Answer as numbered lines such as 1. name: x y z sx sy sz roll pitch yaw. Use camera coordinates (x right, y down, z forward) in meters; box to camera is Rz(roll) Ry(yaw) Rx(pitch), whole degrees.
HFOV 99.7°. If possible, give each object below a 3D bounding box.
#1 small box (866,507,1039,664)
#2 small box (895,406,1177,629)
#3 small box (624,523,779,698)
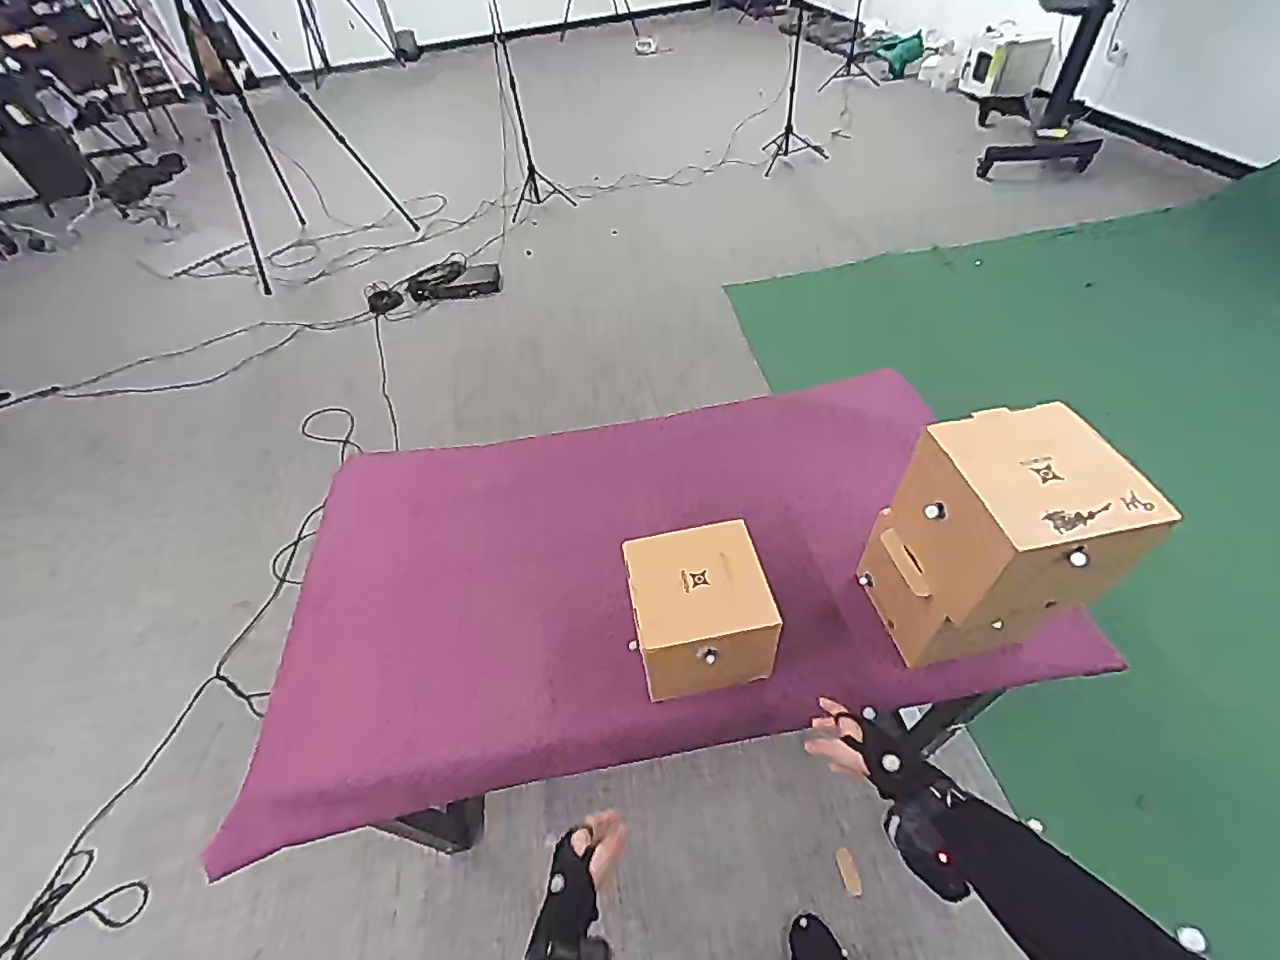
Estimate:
1. small box: 0.438 0.138 0.757 0.179 0.176 0.168 -12 49 -3
2. small box: 0.423 0.044 0.622 0.168 0.176 0.179 -11 48 -1
3. small box: 0.082 0.187 0.762 0.179 0.176 0.168 -10 48 -2
